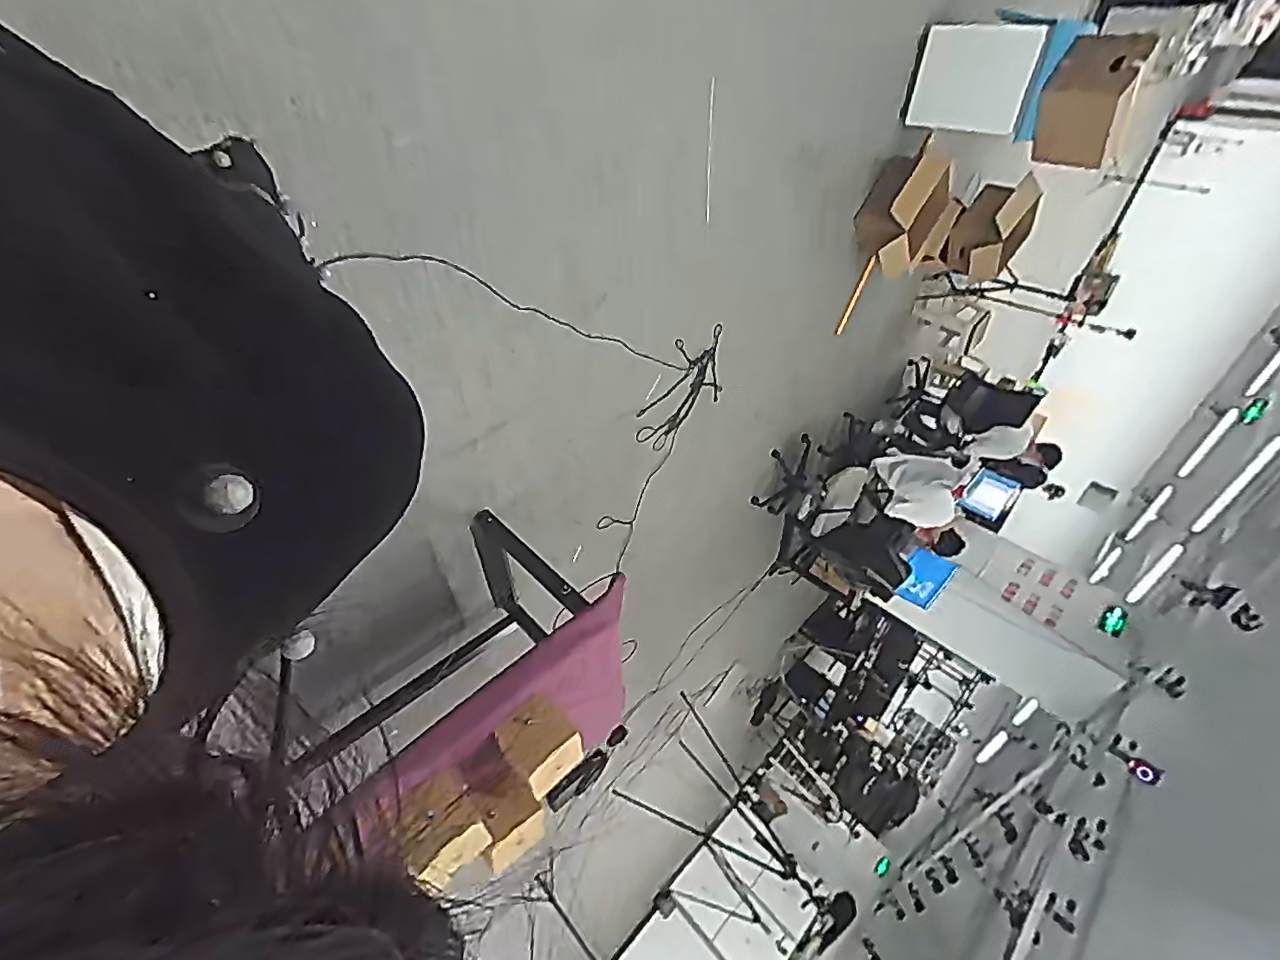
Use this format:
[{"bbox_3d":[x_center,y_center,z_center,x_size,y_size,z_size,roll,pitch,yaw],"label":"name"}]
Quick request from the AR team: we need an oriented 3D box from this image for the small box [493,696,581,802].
[{"bbox_3d":[-0.283,0.738,1.497,0.168,0.176,0.179,-33,141,-32],"label":"small box"}]

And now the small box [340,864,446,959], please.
[{"bbox_3d":[-0.631,1.130,1.382,0.168,0.176,0.179,-34,142,-30],"label":"small box"}]

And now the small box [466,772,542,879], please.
[{"bbox_3d":[-0.400,0.983,1.557,0.168,0.176,0.179,-24,135,-39],"label":"small box"}]

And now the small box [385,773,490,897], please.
[{"bbox_3d":[-0.497,0.864,1.331,0.168,0.176,0.179,-32,141,-32],"label":"small box"}]
